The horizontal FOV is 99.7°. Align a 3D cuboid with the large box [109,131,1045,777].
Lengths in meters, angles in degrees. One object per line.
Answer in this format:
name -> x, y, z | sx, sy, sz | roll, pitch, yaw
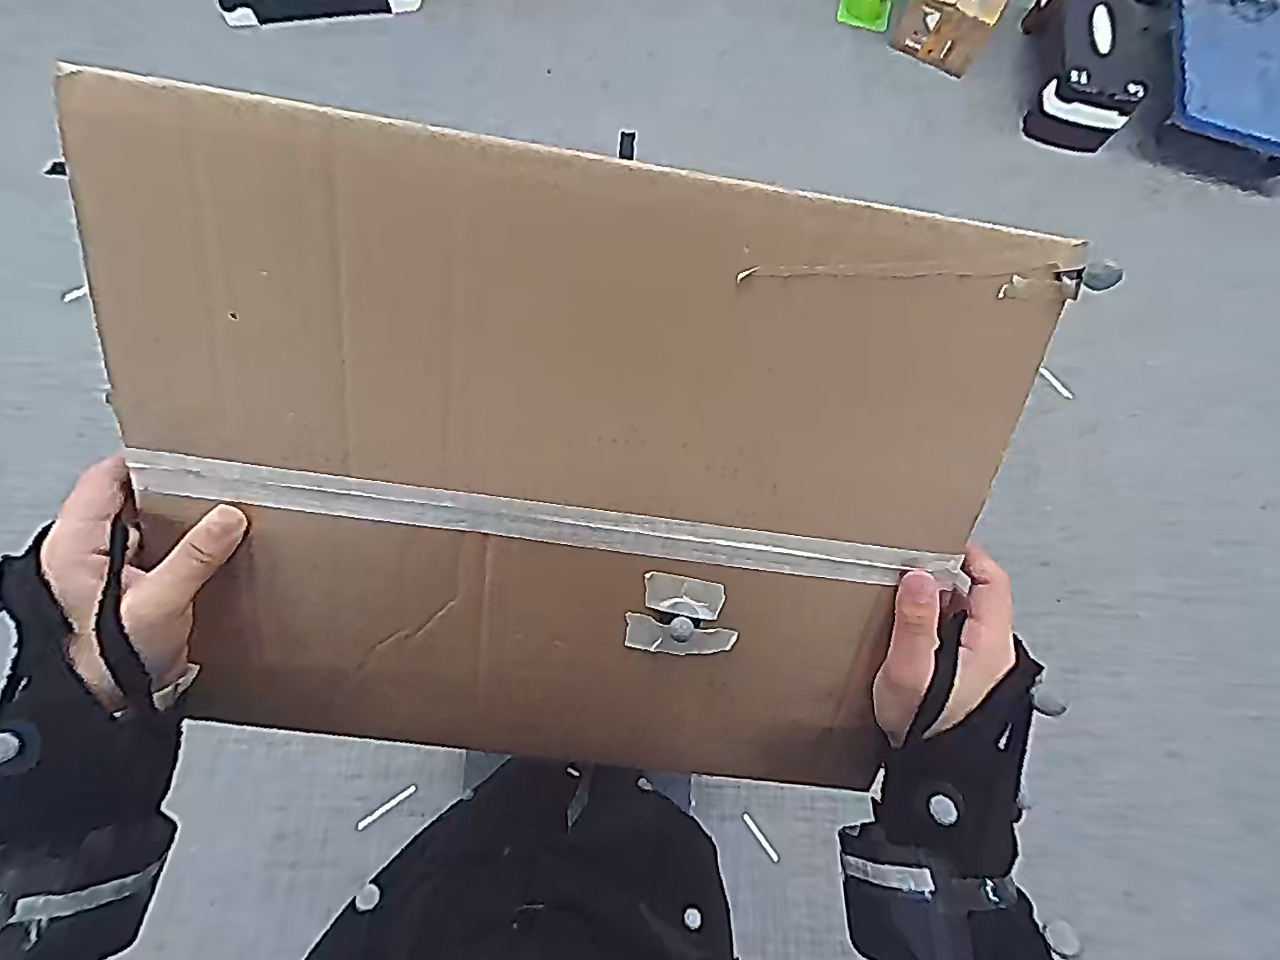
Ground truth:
large box -> -0.040, -0.027, 0.416 | 0.408, 0.320, 0.320 | 7, 112, -4
